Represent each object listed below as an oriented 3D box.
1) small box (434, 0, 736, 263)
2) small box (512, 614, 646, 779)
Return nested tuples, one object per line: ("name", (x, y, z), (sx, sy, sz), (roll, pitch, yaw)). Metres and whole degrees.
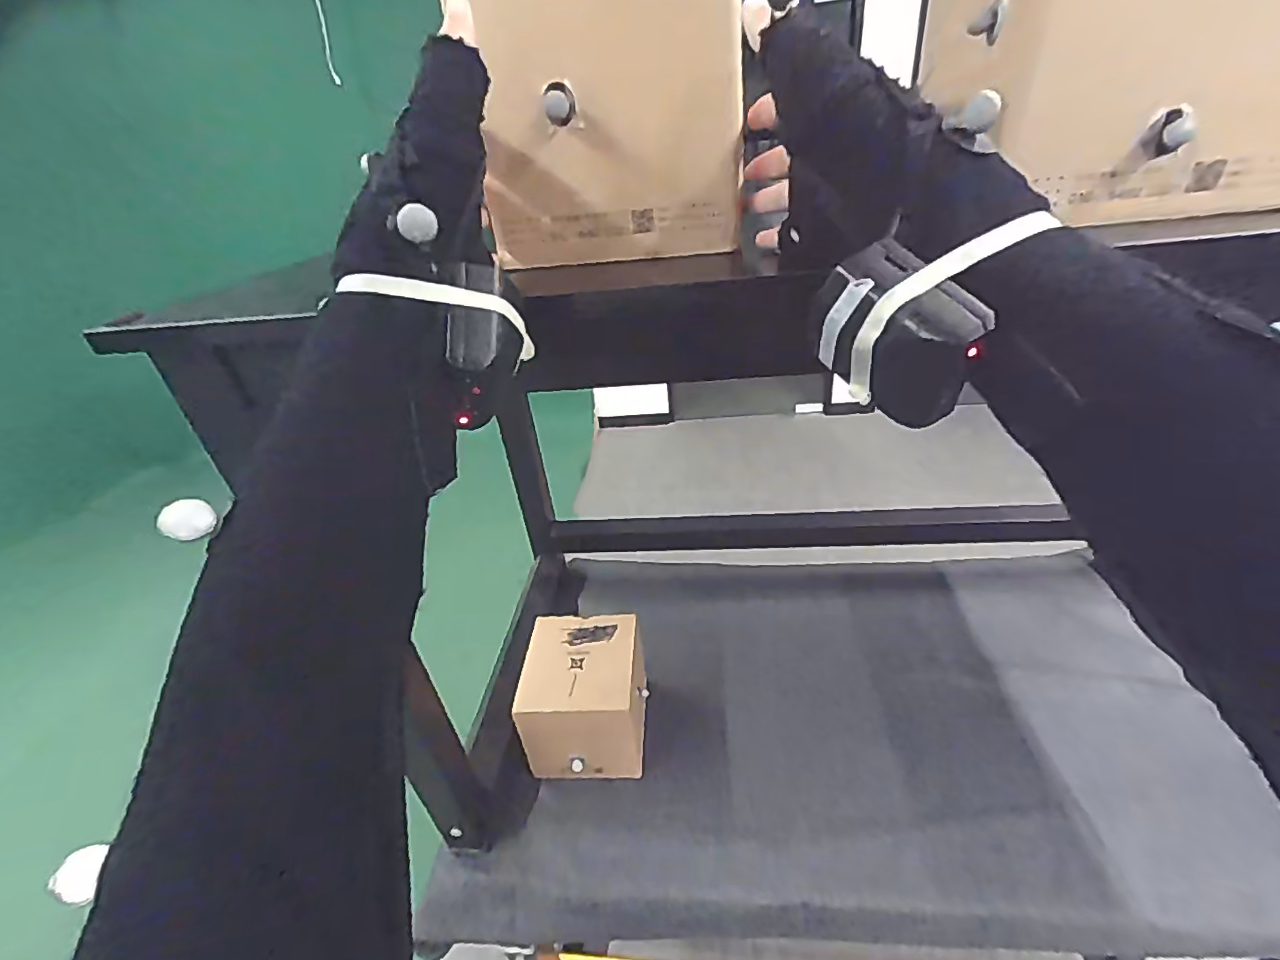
("small box", (-0.016, -0.261, 0.394), (0.168, 0.176, 0.179), (-1, 32, 10))
("small box", (-0.082, 0.332, 0.839), (0.168, 0.176, 0.179), (-4, 32, 6))
